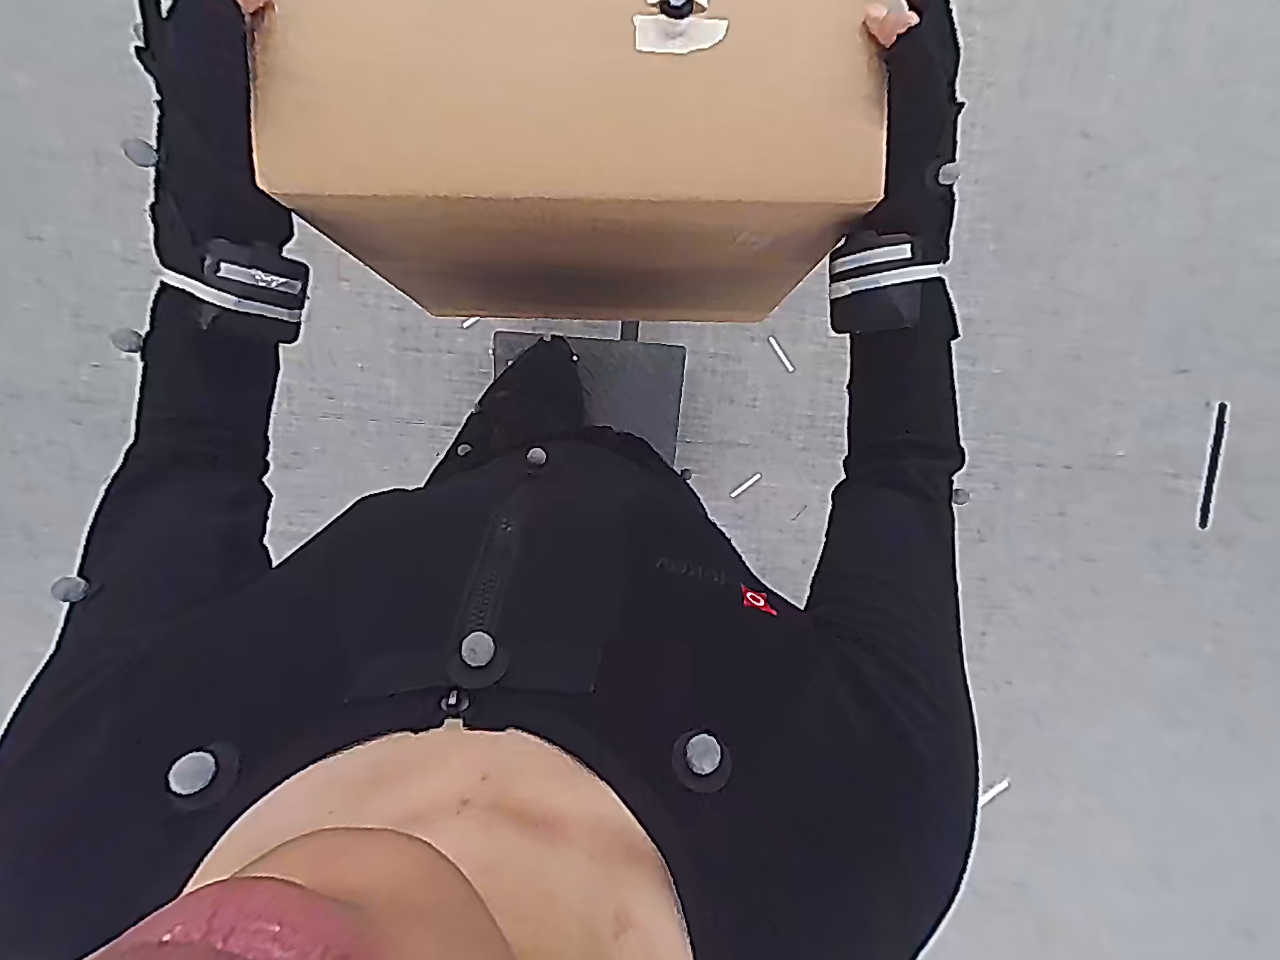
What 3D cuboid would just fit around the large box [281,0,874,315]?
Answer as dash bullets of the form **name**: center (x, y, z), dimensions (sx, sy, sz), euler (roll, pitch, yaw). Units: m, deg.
- **large box**: center (-0.044, -0.353, 0.510), dimensions (0.408, 0.320, 0.320), euler (0, 92, -2)
